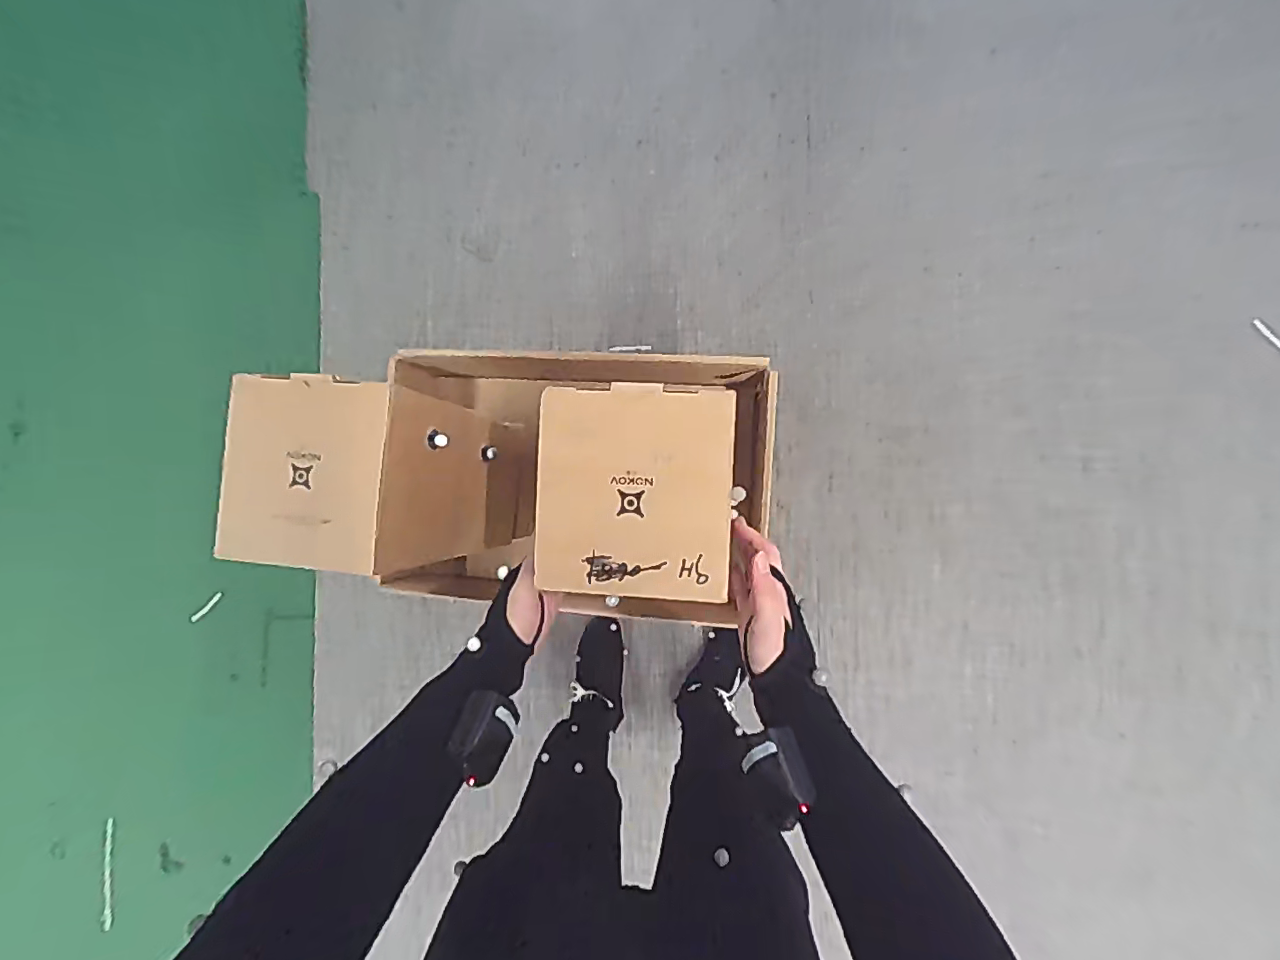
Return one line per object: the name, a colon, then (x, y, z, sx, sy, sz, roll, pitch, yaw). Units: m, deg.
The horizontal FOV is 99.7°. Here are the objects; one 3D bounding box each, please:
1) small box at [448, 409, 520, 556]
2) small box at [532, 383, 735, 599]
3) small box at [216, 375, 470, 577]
small box: (-0.273, -0.001, 0.736, 0.168, 0.176, 0.179, 5, 89, 10)
small box: (0.002, 0.009, 0.530, 0.168, 0.176, 0.179, 2, 89, 8)
small box: (-0.297, -0.003, 0.575, 0.168, 0.176, 0.179, 5, 89, 10)
